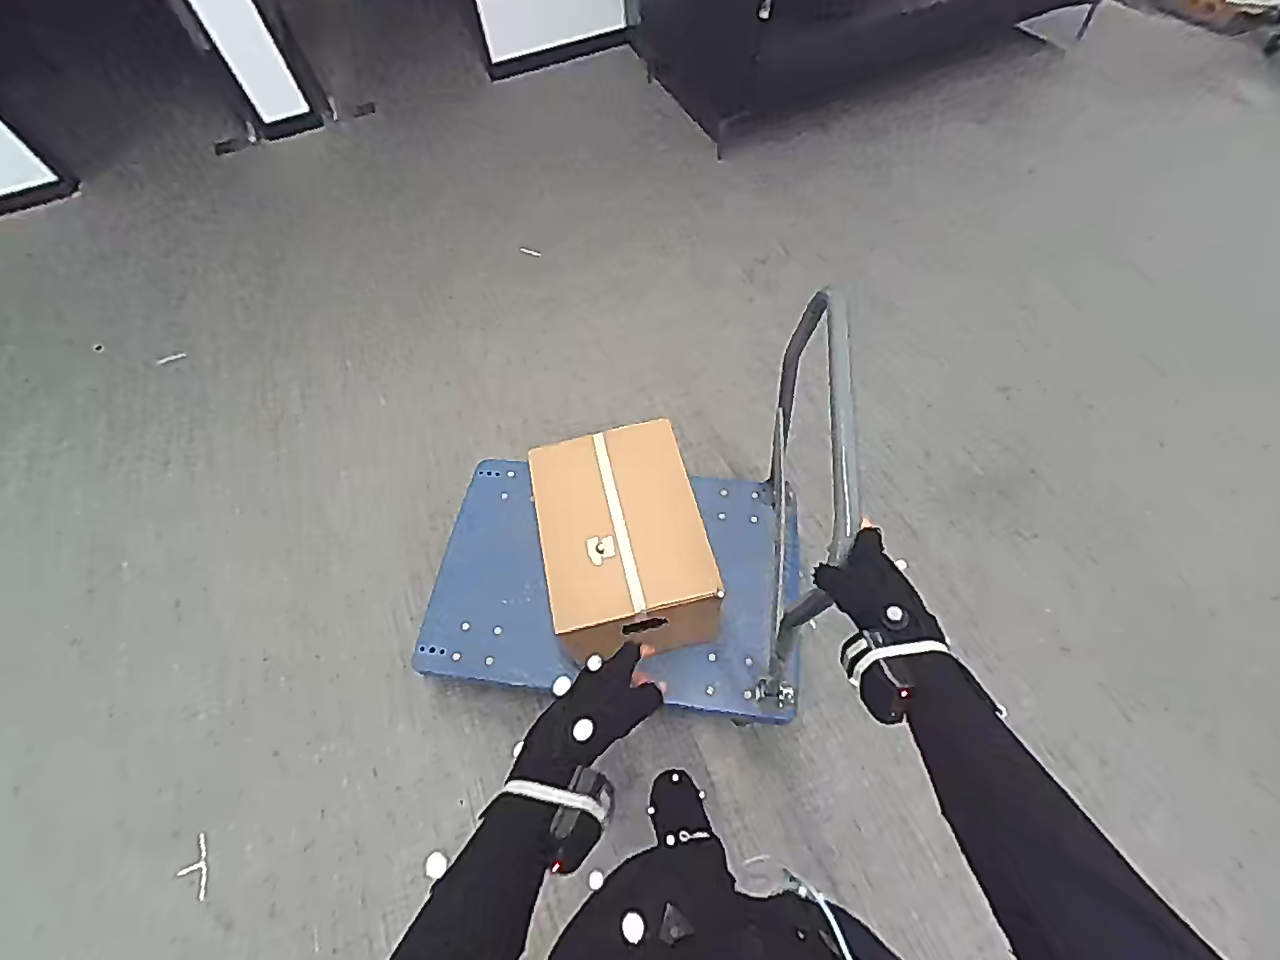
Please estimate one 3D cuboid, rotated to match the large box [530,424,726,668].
[{"bbox_3d":[-0.033,0.149,1.187,0.320,0.320,0.408,-13,60,-4],"label":"large box"}]
